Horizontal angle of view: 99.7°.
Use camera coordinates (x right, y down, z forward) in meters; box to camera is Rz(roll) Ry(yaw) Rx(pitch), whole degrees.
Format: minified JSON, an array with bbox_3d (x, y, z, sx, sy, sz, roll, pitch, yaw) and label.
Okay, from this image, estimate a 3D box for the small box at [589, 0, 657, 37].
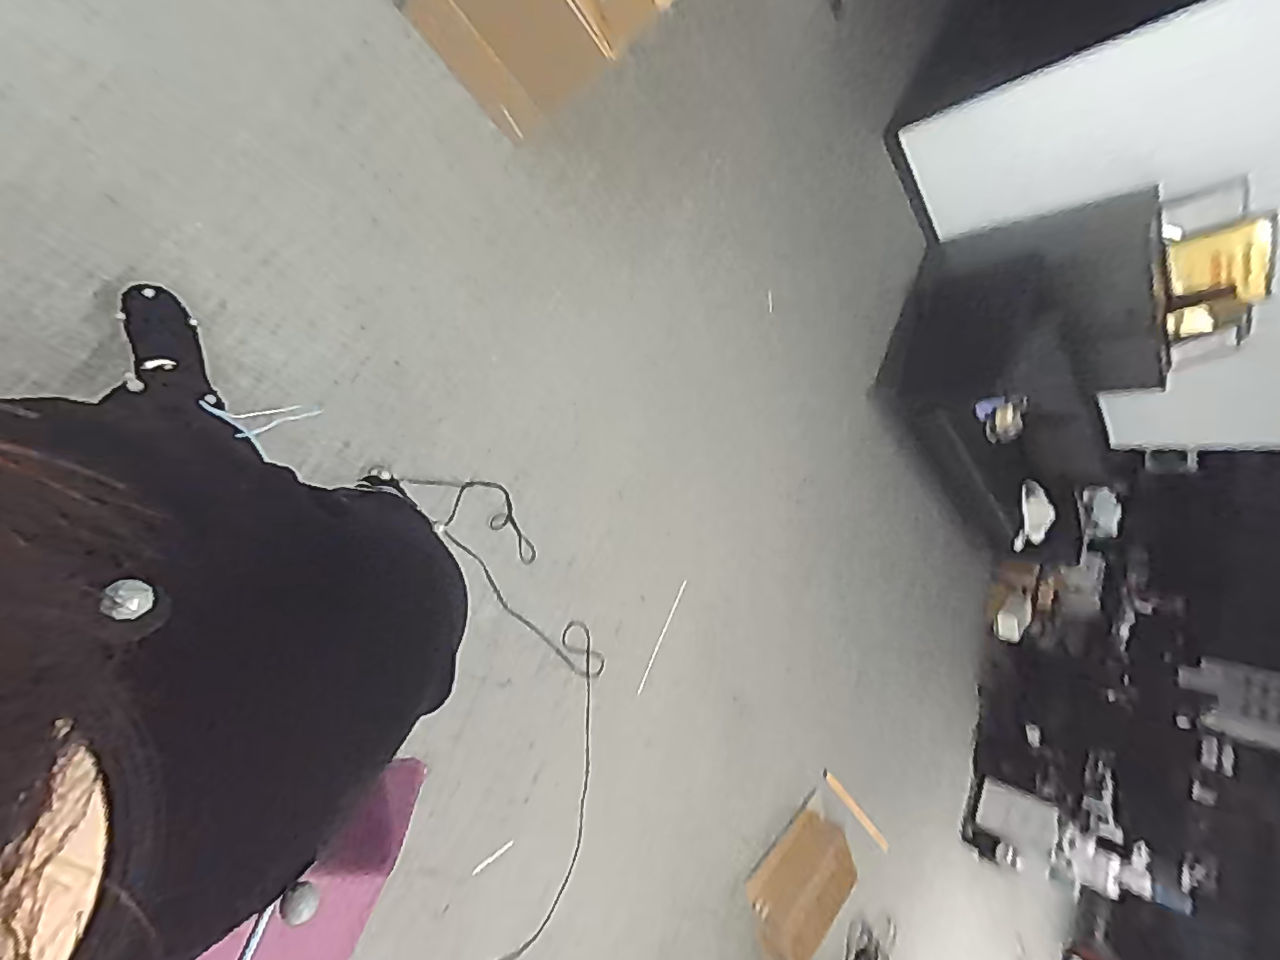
[{"bbox_3d":[-0.018,-1.147,1.198,0.168,0.176,0.179,45,66,-32],"label":"small box"}]
